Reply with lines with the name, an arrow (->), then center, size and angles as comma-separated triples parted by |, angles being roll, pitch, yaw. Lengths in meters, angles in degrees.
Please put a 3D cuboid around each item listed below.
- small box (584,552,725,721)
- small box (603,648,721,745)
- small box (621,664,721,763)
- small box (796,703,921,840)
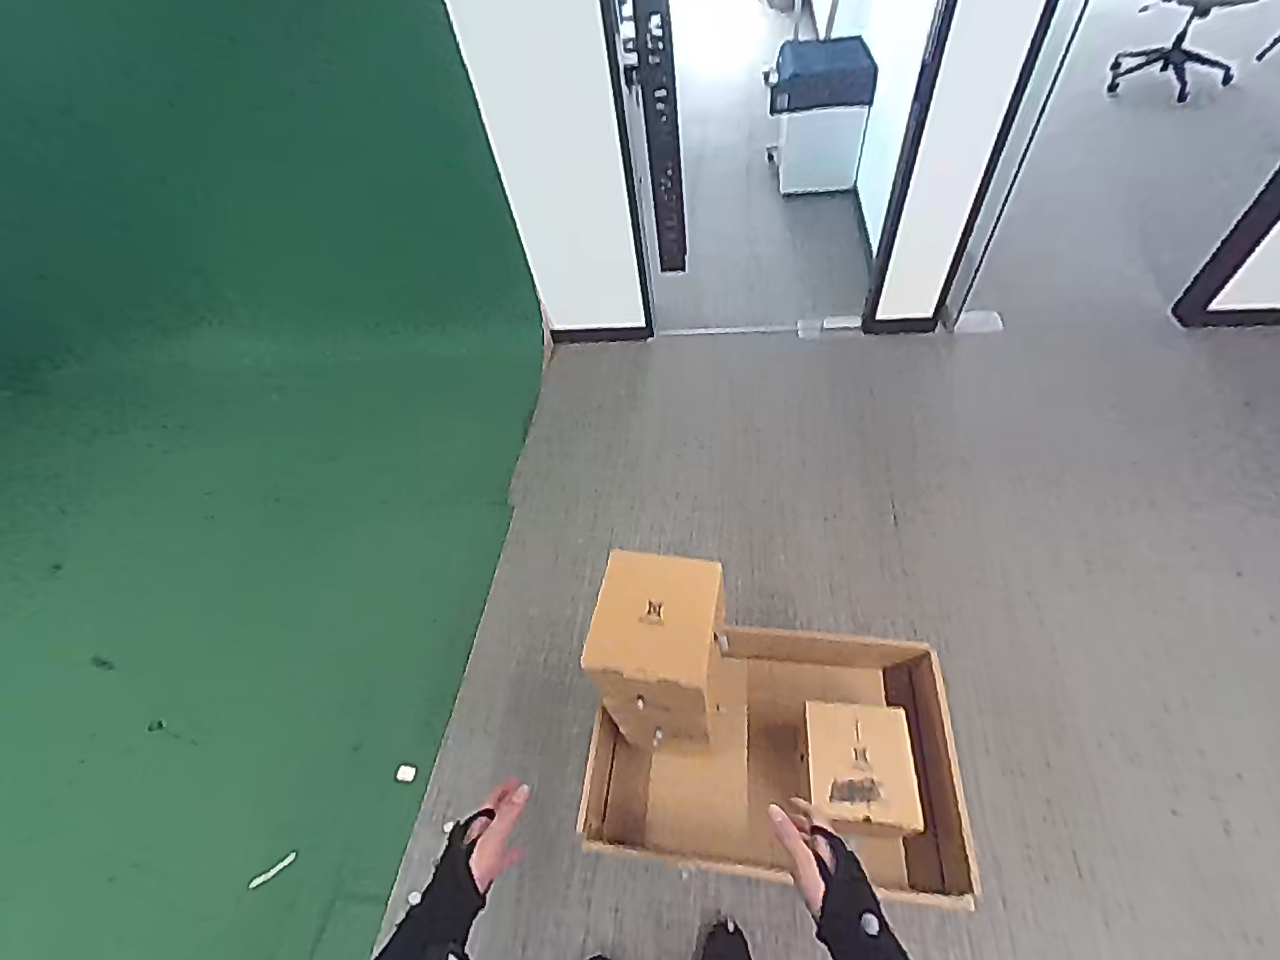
small box -> 0.032, 0.231, 0.796 | 0.168, 0.176, 0.179 | 5, 54, 13
small box -> 0.048, 0.329, 0.924 | 0.168, 0.176, 0.179 | 5, 54, 13
small box -> 0.068, 0.428, 1.053 | 0.168, 0.176, 0.179 | 3, 53, 11
small box -> 0.367, 0.509, 0.940 | 0.168, 0.176, 0.179 | 2, 52, 10
